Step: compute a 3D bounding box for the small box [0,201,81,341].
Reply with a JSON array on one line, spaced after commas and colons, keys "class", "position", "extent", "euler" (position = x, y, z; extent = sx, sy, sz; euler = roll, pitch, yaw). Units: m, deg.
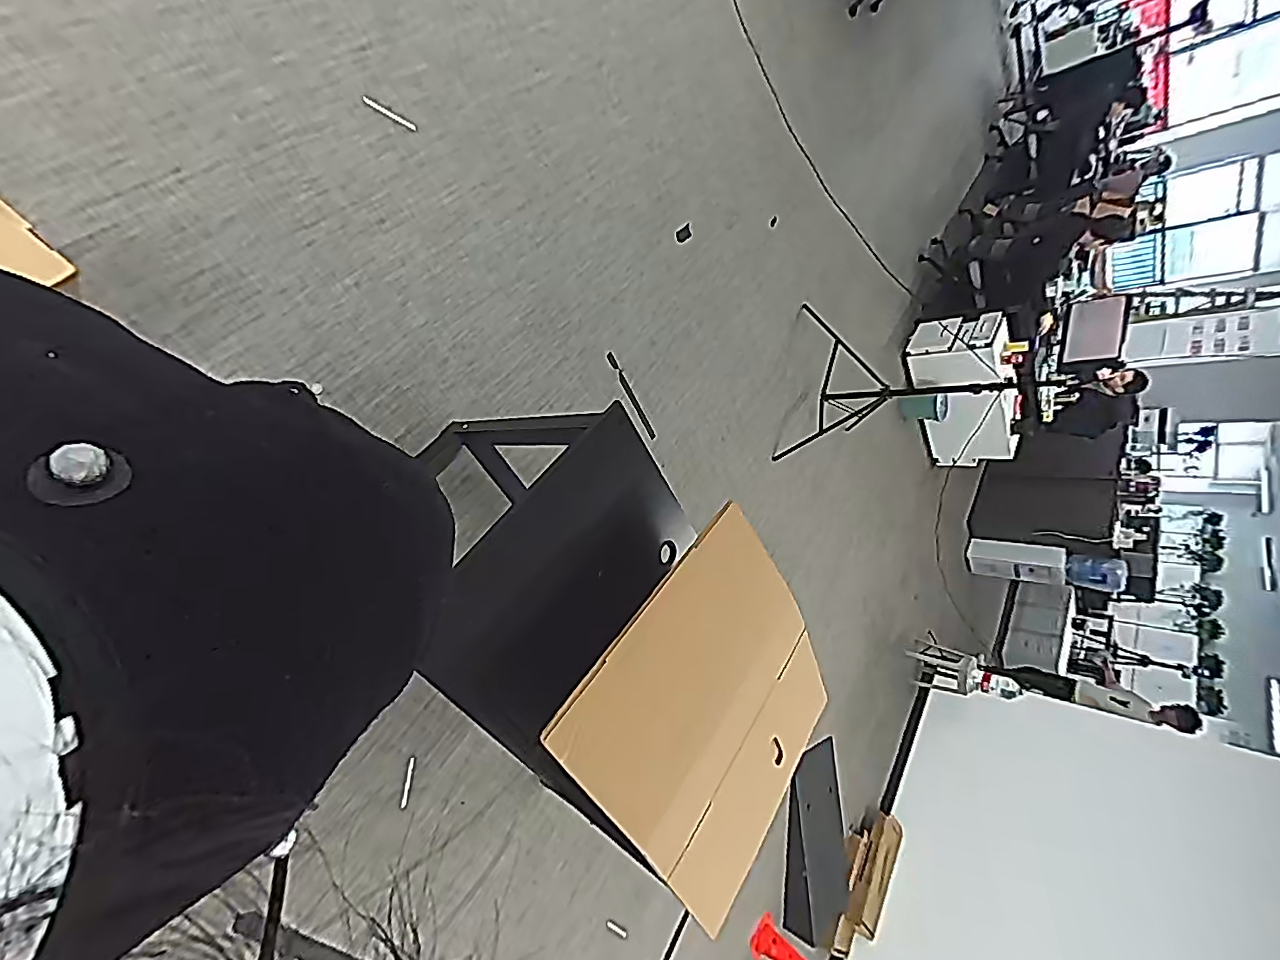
[{"class": "small box", "position": [-0.894, -0.279, 0.700], "extent": [0.168, 0.176, 0.179], "euler": [53, 56, -33]}]
